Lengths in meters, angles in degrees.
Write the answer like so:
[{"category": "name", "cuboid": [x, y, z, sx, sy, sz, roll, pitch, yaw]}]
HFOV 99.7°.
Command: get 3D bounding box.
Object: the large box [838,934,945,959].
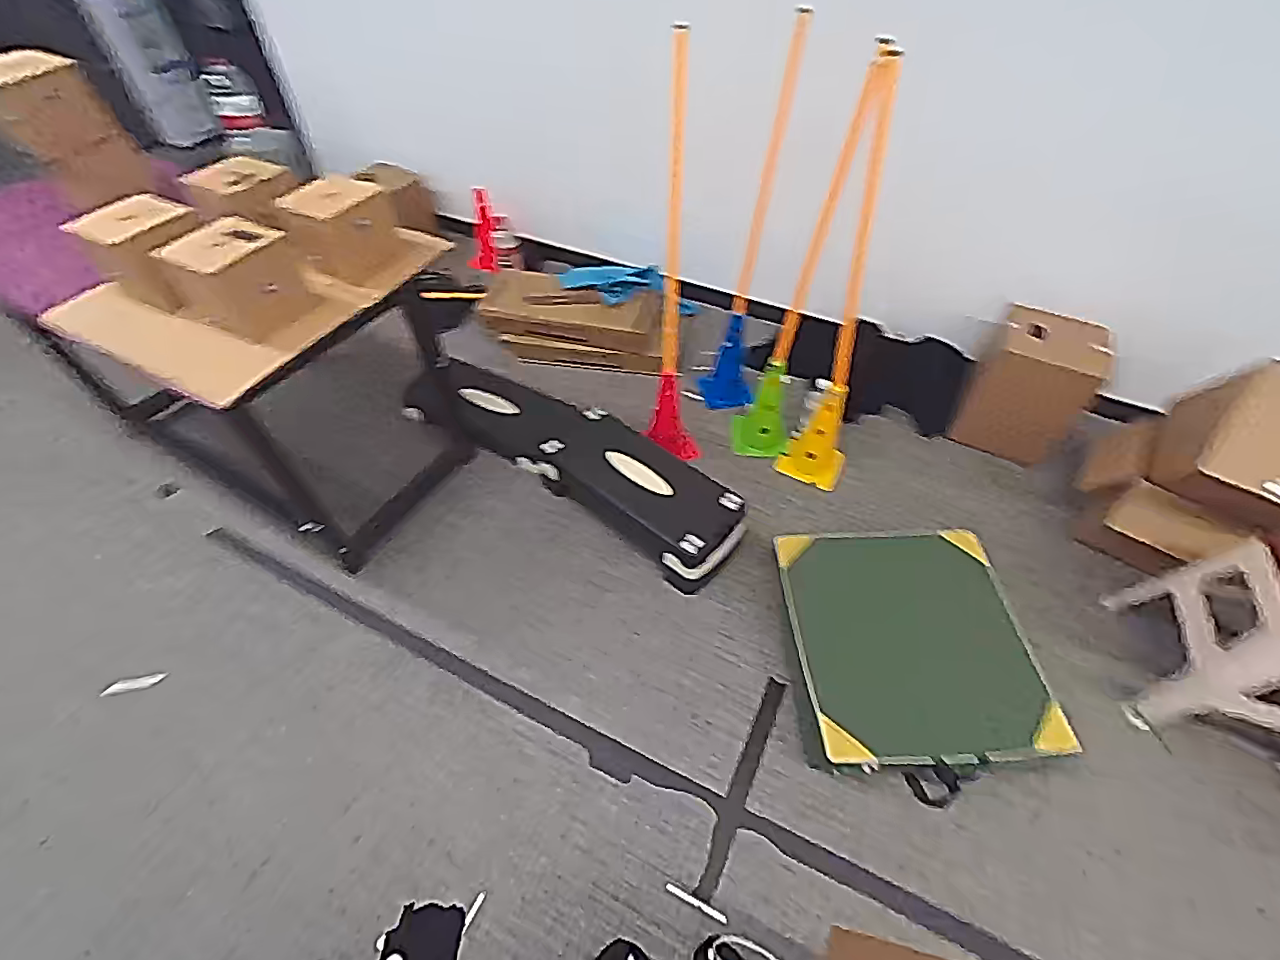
[{"category": "large box", "cuboid": [0.430, 0.796, 0.616, 0.320, 0.408, 0.320, 23, 57, 10]}]
